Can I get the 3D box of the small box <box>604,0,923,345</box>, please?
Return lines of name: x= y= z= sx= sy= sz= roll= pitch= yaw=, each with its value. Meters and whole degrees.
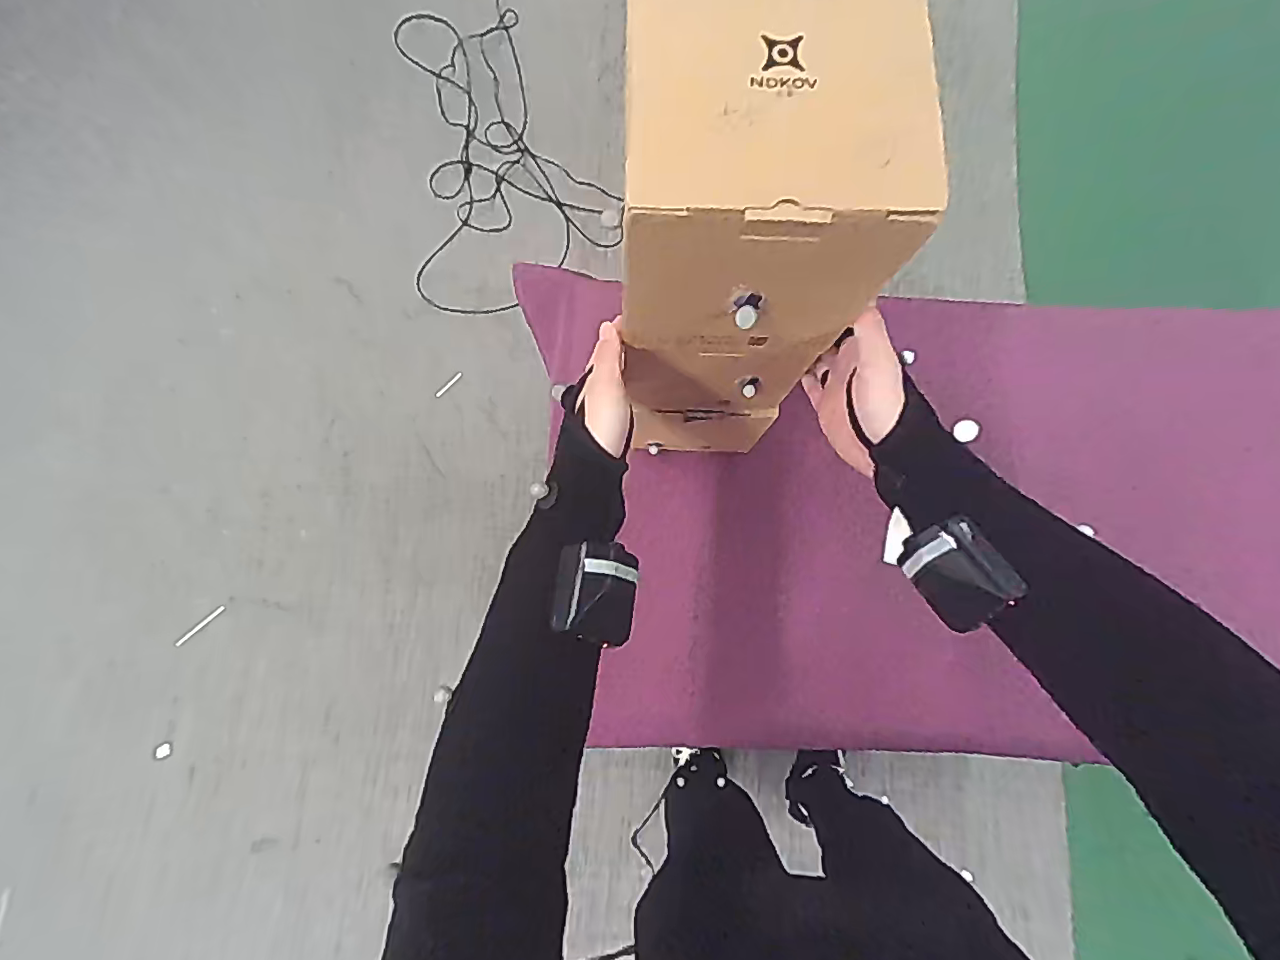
small box: x=0.063 y=-0.203 z=0.367 sx=0.168 sy=0.176 sz=0.179 roll=0 pitch=80 yaw=-1

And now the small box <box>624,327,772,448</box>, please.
small box: x=0.068 y=-0.143 z=0.688 sx=0.168 sy=0.176 sz=0.179 roll=1 pitch=78 yaw=0
